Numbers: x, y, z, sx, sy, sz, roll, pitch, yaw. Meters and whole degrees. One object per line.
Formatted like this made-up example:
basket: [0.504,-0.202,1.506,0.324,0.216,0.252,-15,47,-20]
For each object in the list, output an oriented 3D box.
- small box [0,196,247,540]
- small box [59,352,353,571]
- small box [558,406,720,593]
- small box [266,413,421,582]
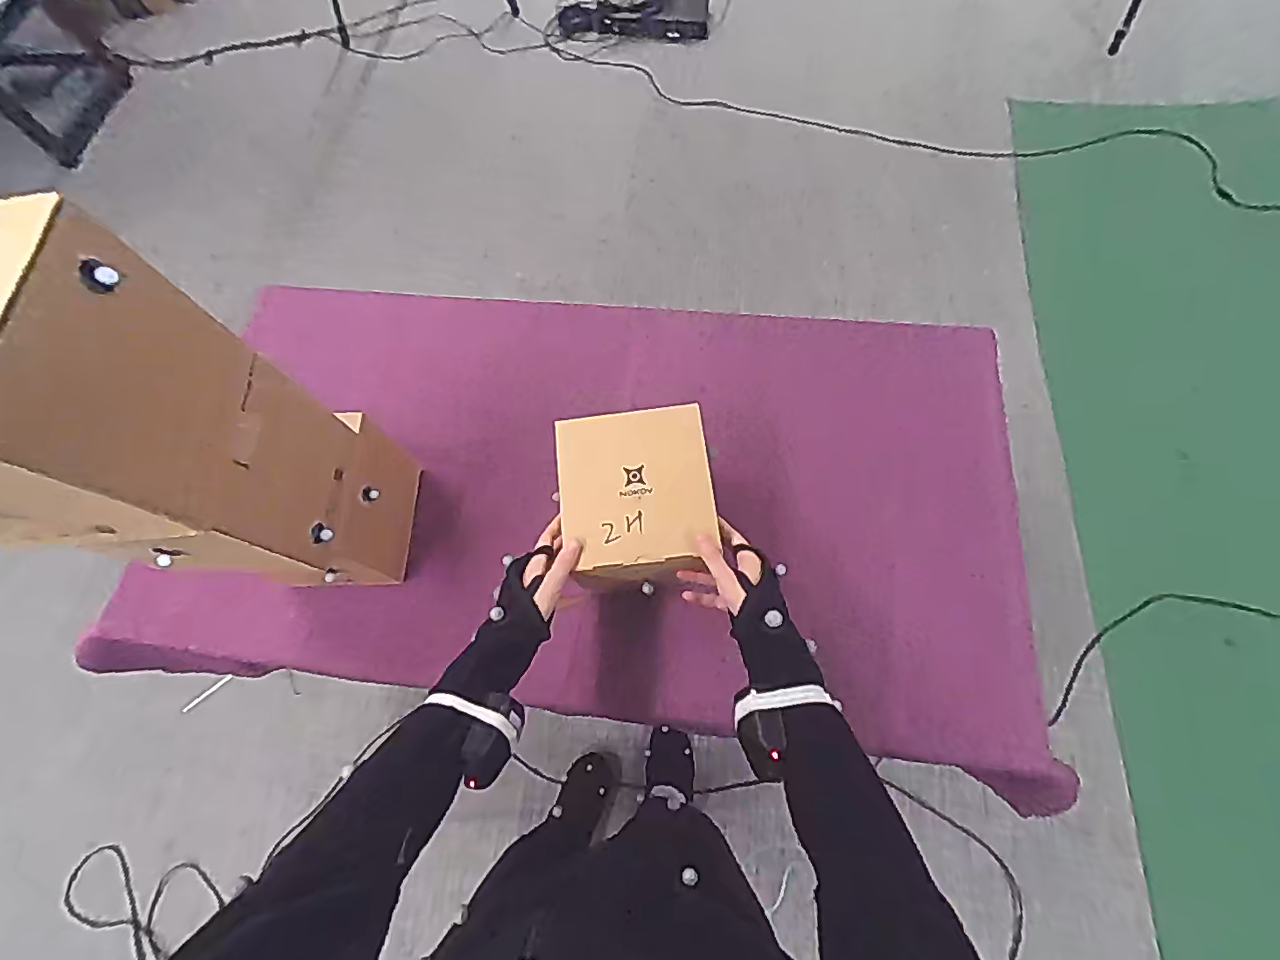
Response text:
small box: [-0.426,-0.061,0.383,0.168,0.176,0.179,-4,67,2]
small box: [-0.422,-0.009,0.537,0.179,0.176,0.168,-1,67,4]
small box: [-0.001,0.032,0.654,0.168,0.176,0.179,-7,71,2]
small box: [-0.405,0.031,0.697,0.168,0.176,0.179,0,66,4]
